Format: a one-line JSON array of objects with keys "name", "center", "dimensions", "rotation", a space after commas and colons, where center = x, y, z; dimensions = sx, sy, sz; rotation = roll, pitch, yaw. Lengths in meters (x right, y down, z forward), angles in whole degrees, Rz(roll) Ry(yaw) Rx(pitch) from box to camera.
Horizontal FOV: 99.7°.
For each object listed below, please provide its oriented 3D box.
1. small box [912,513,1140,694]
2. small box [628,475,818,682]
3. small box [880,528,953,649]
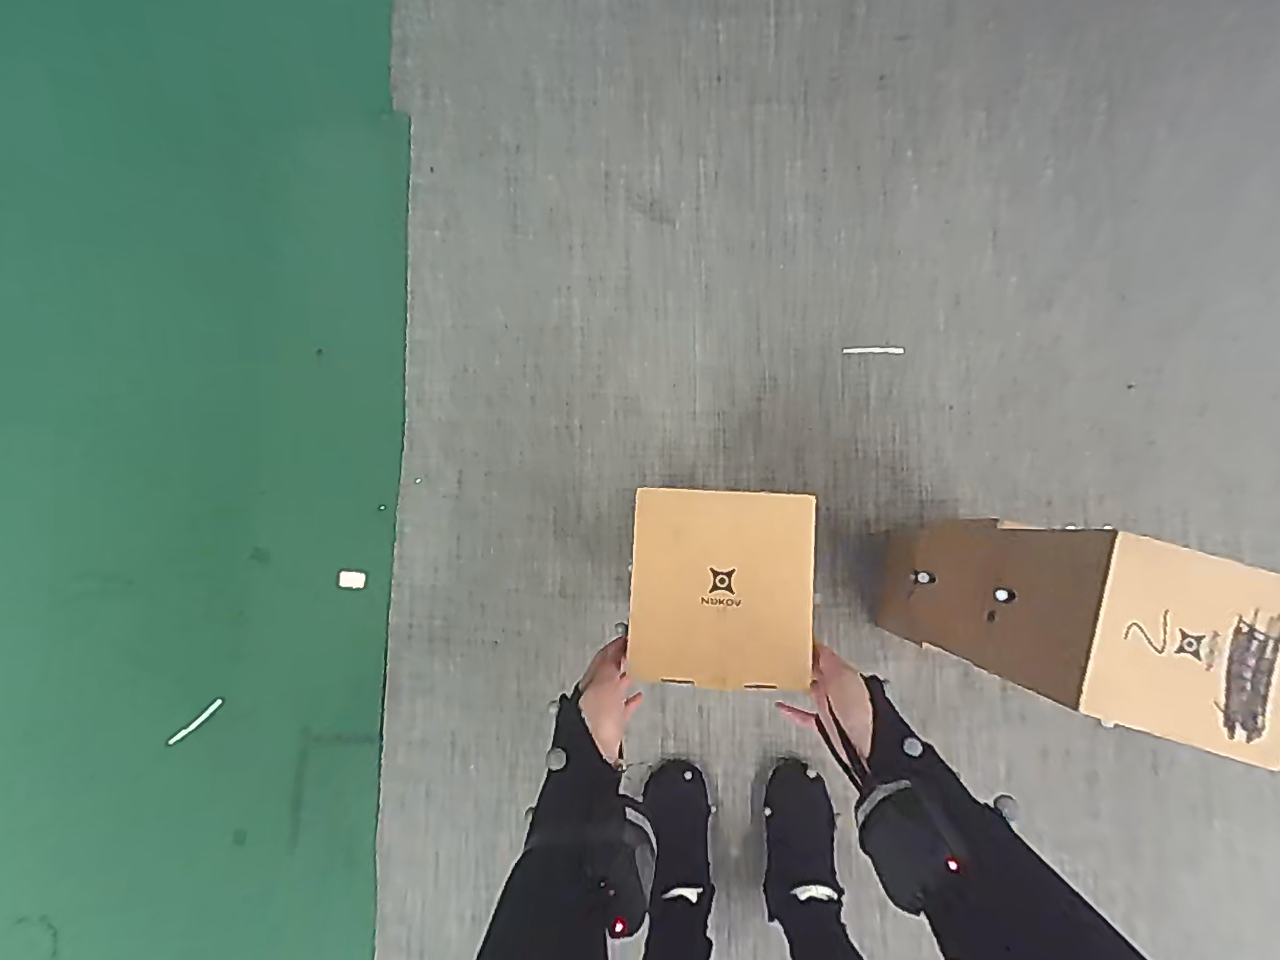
[{"name": "small box", "center": [0.483, 0.147, 0.706], "dimensions": [0.168, 0.176, 0.179], "rotation": [14, 86, 3]}, {"name": "small box", "center": [0.077, 0.094, 0.562], "dimensions": [0.168, 0.176, 0.179], "rotation": [3, 85, 2]}, {"name": "small box", "center": [0.507, 0.174, 0.866], "dimensions": [0.168, 0.176, 0.179], "rotation": [10, 86, 3]}]
